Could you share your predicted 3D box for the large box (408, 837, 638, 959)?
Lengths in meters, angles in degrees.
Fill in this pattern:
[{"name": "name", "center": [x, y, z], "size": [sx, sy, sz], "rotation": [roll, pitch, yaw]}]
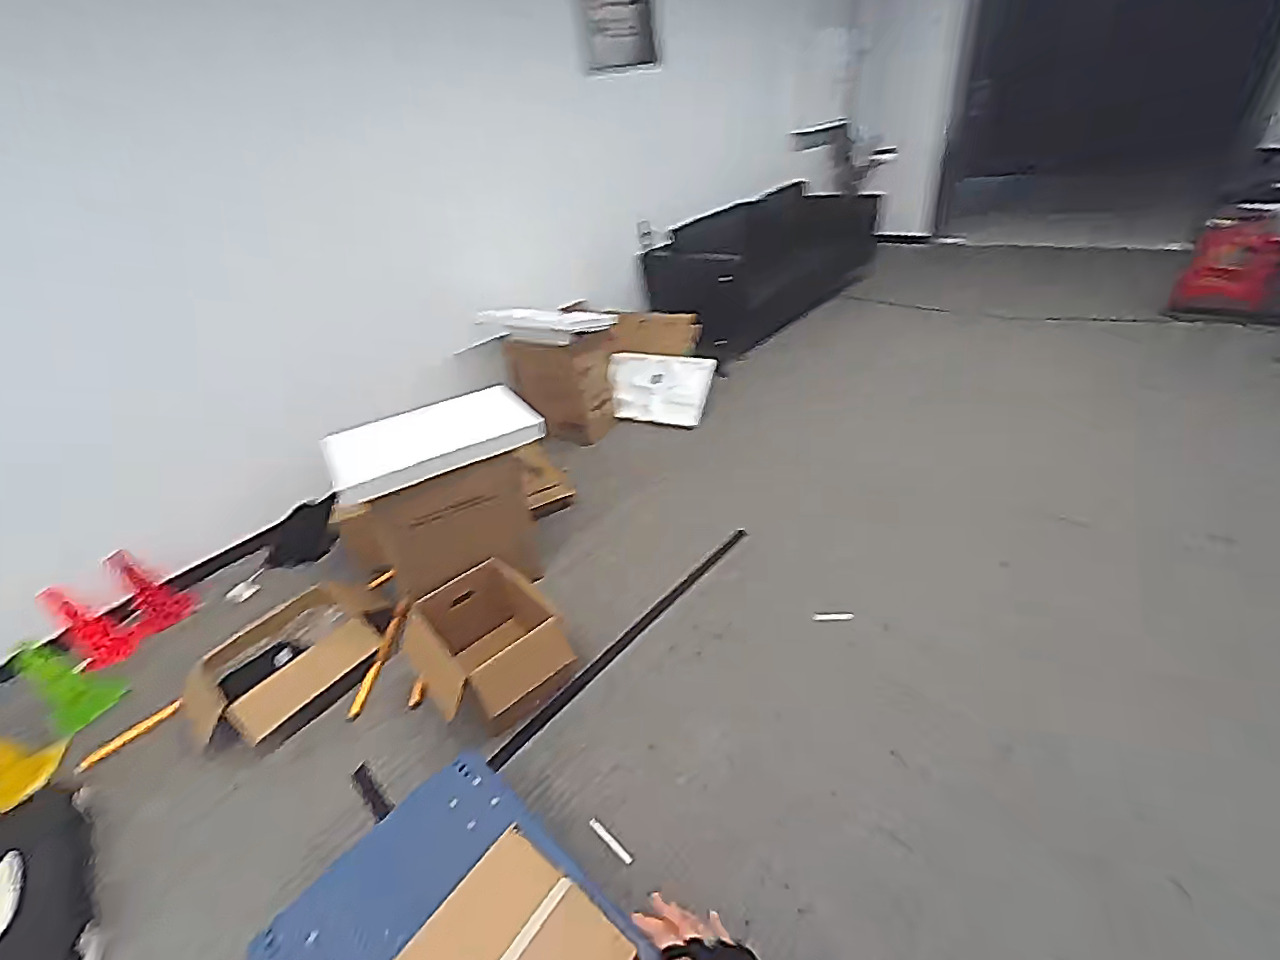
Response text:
[{"name": "large box", "center": [-0.222, 0.921, 0.875], "size": [0.320, 0.320, 0.408], "rotation": [18, 40, 34]}]
